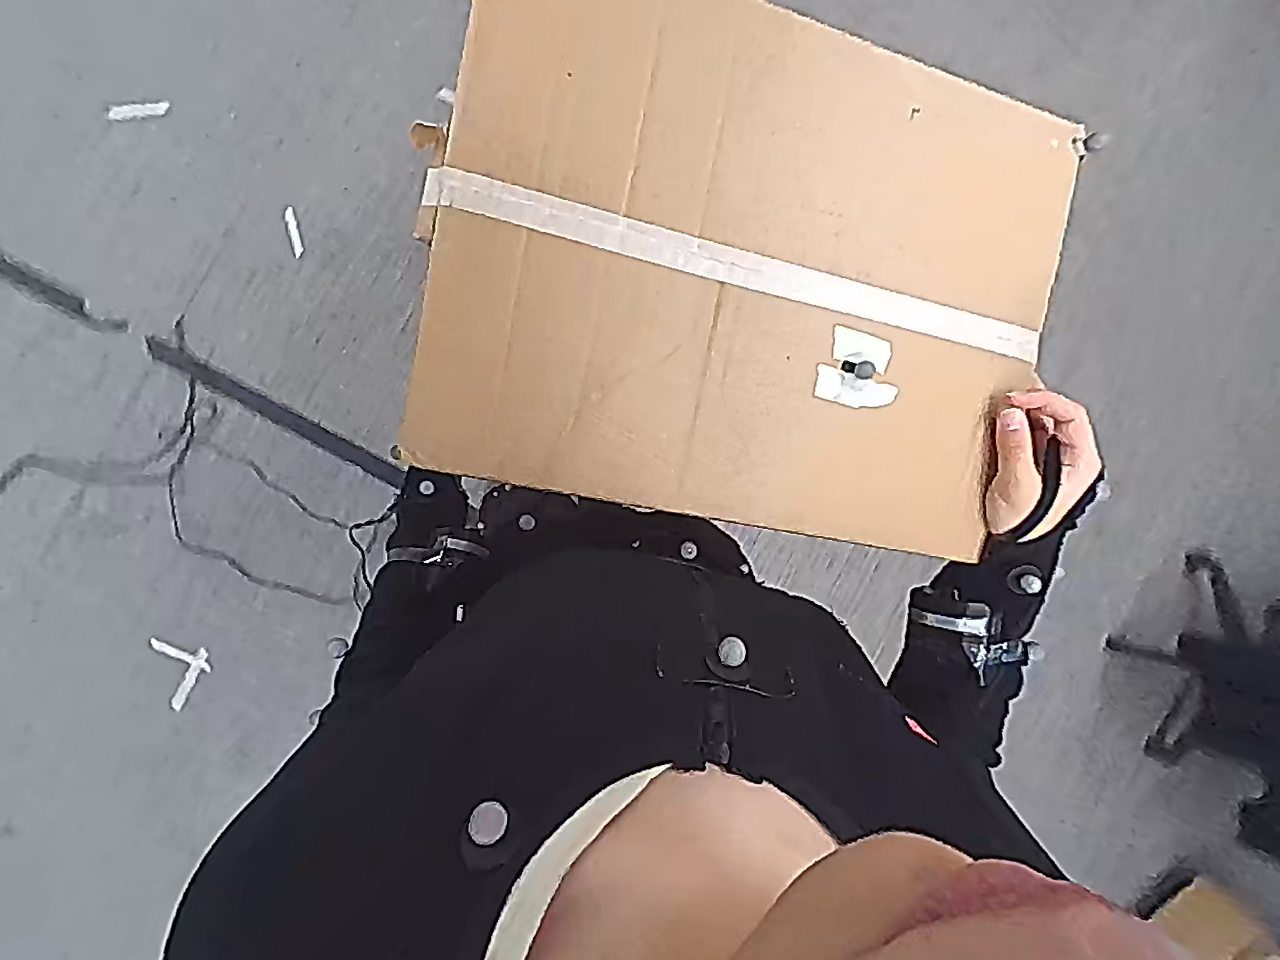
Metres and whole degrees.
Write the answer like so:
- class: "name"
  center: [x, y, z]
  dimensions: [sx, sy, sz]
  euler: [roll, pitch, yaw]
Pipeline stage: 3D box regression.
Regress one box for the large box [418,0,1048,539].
- class: "large box"
  center: [0.047, -0.144, 0.495]
  dimensions: [0.408, 0.320, 0.320]
  euler: [9, 94, -14]
